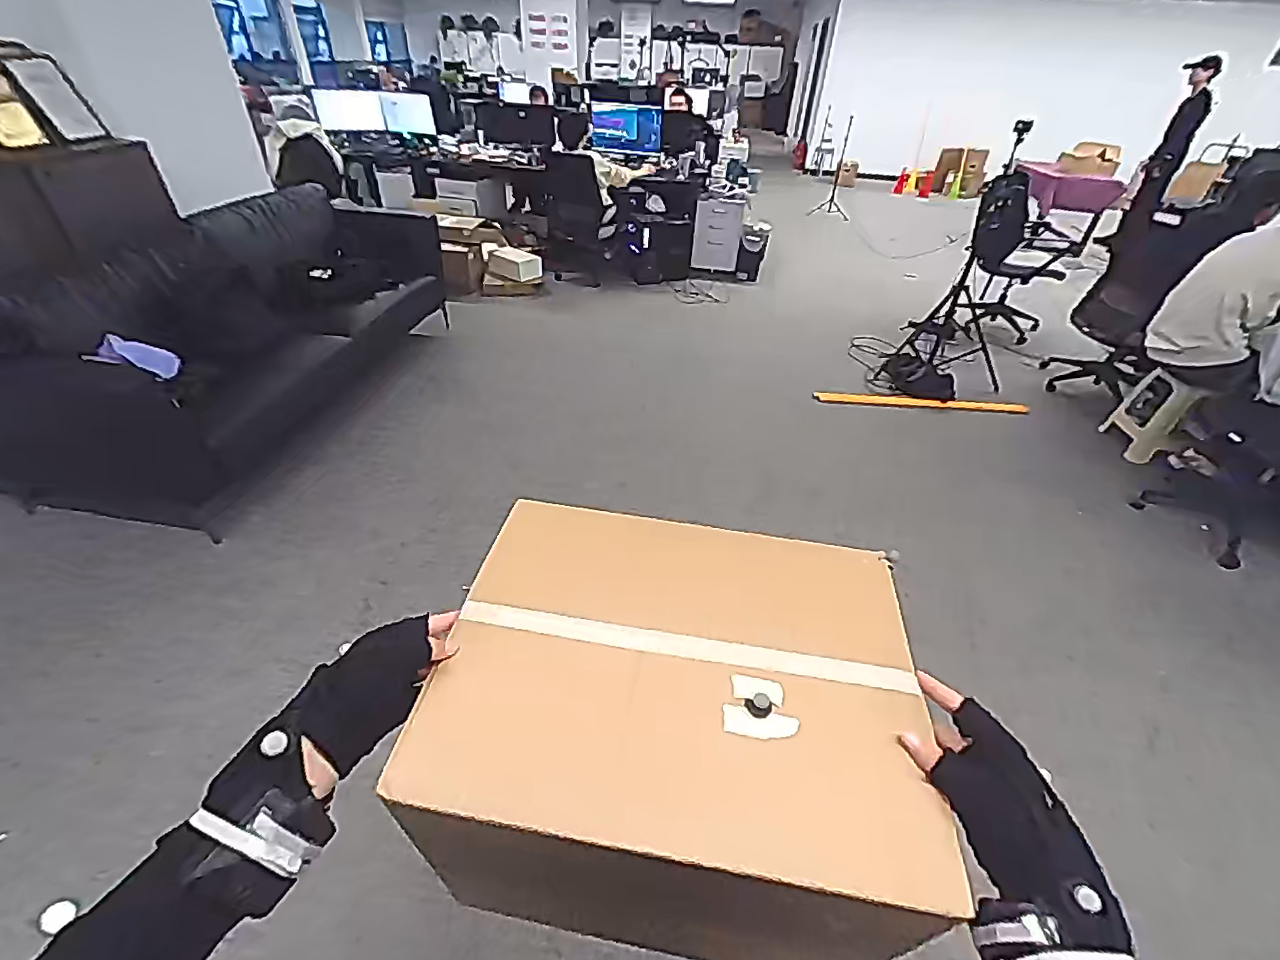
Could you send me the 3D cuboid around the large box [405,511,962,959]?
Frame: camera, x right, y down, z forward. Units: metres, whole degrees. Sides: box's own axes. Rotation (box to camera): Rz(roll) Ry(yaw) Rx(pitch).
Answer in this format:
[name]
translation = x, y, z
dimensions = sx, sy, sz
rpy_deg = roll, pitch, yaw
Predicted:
[large box]
translation = 0.036, 0.267, 0.585
dimensions = 0.408, 0.320, 0.320
rpy_deg = 8, 41, 6
